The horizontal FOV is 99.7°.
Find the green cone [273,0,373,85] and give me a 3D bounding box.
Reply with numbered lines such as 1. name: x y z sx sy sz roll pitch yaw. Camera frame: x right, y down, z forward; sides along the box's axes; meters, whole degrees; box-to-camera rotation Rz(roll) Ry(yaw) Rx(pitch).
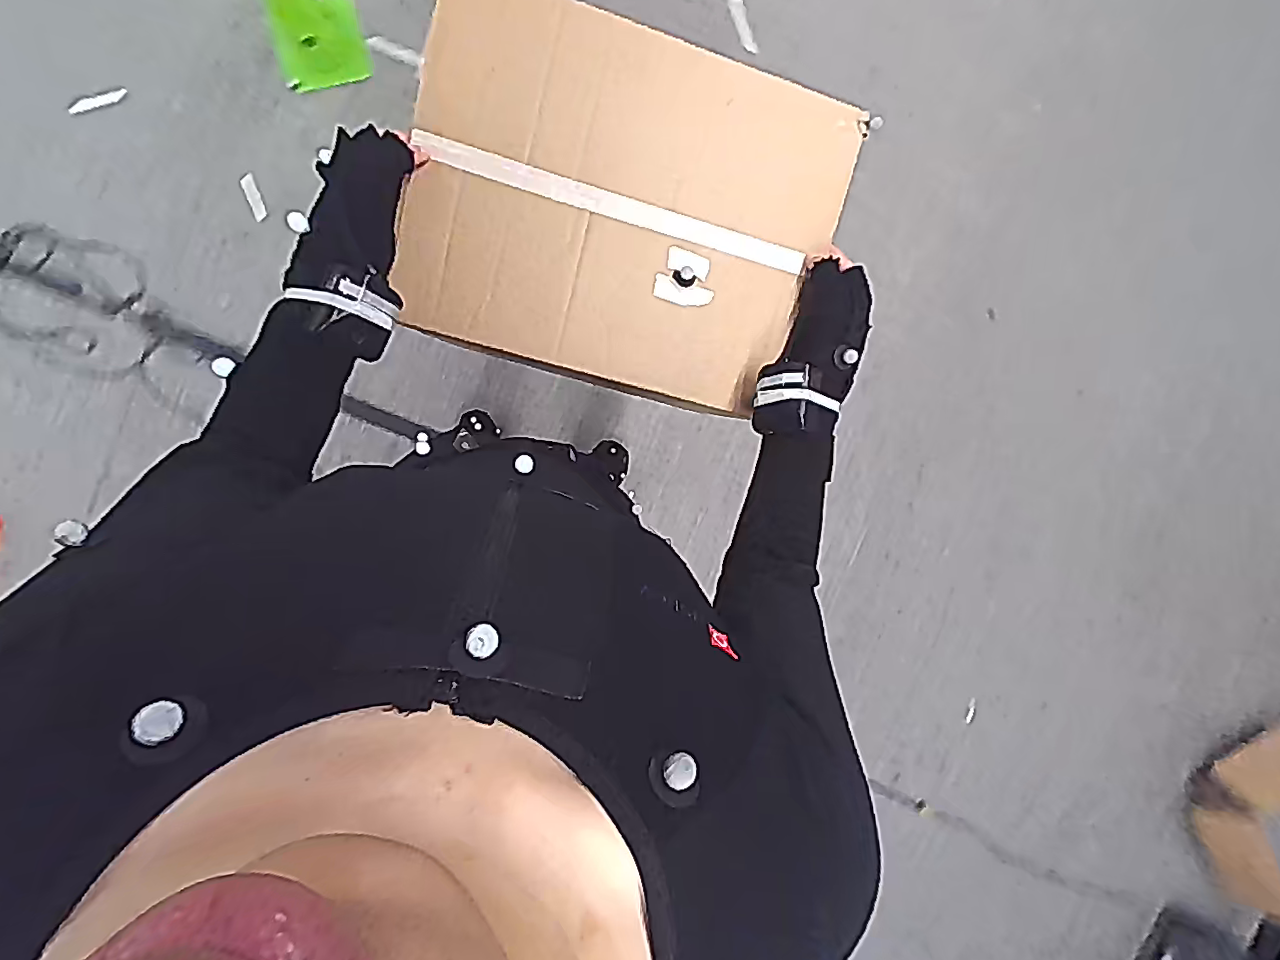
1. green cone: -0.748 -1.063 1.137 0.200 0.368 0.202 -15 95 -4

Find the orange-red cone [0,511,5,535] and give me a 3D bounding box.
1. orange-red cone: -1.688 0.153 1.177 0.199 0.360 0.198 20 95 -8
